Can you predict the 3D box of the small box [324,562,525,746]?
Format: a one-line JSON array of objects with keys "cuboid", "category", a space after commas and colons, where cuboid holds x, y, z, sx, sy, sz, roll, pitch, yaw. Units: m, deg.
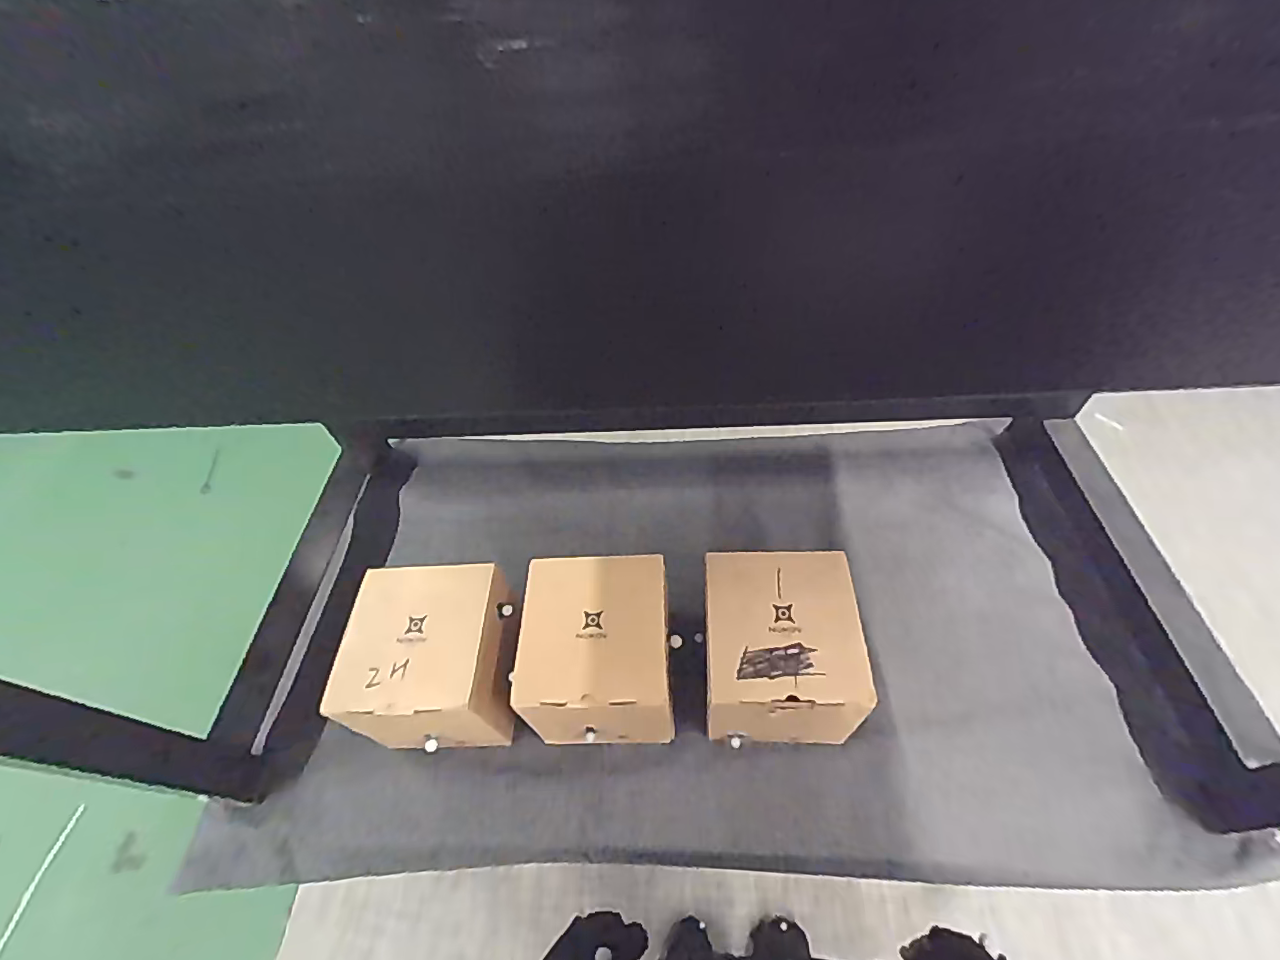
[{"cuboid": [-0.252, 0.223, 0.685, 0.168, 0.176, 0.179, -3, 52, 4], "category": "small box"}]
